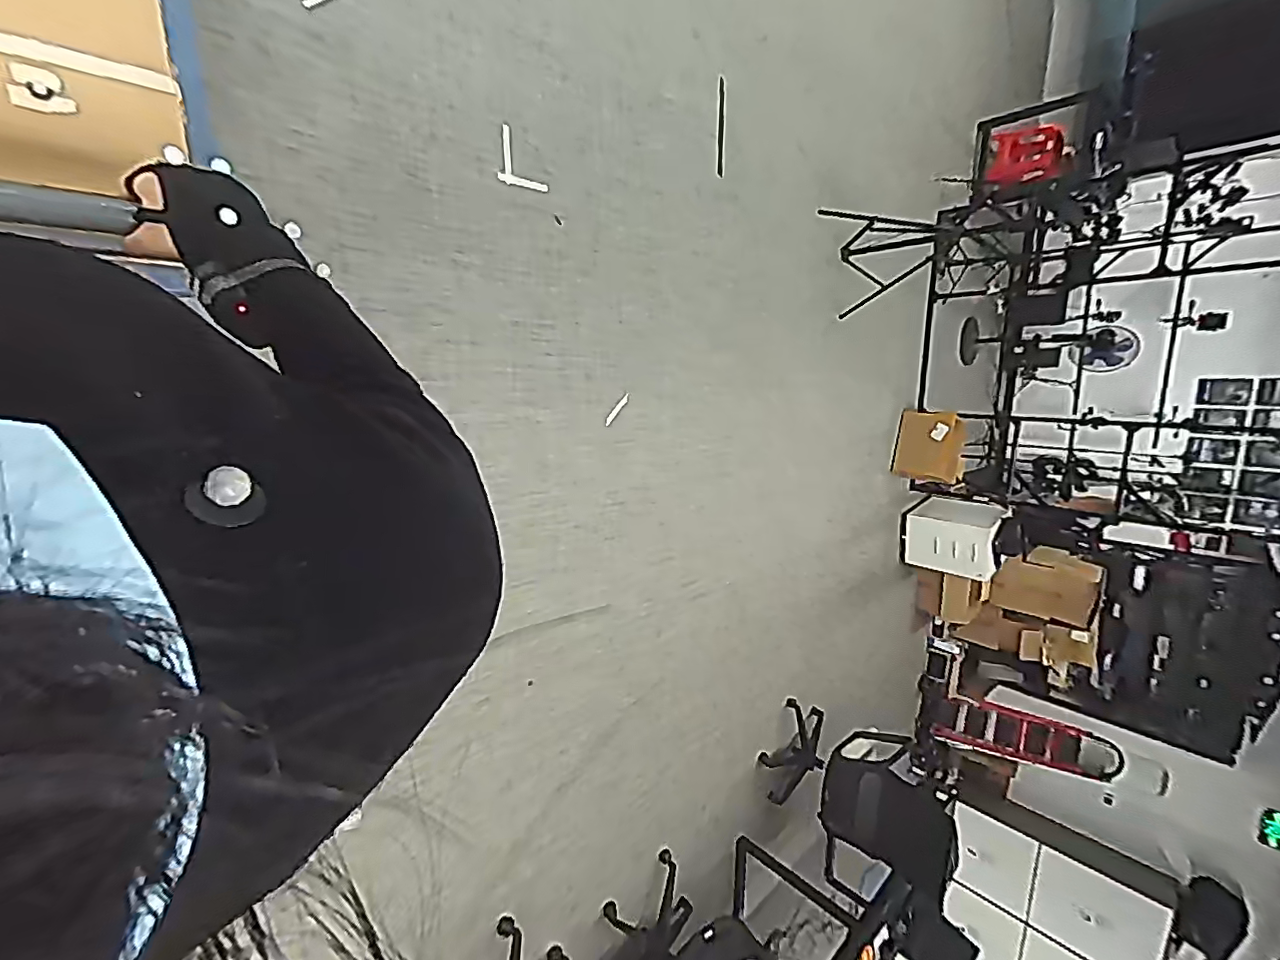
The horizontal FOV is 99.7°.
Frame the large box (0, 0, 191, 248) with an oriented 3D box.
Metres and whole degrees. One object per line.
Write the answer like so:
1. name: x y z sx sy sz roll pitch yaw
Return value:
1. large box: -0.896 -0.517 0.716 0.408 0.320 0.320 -13 107 -43
